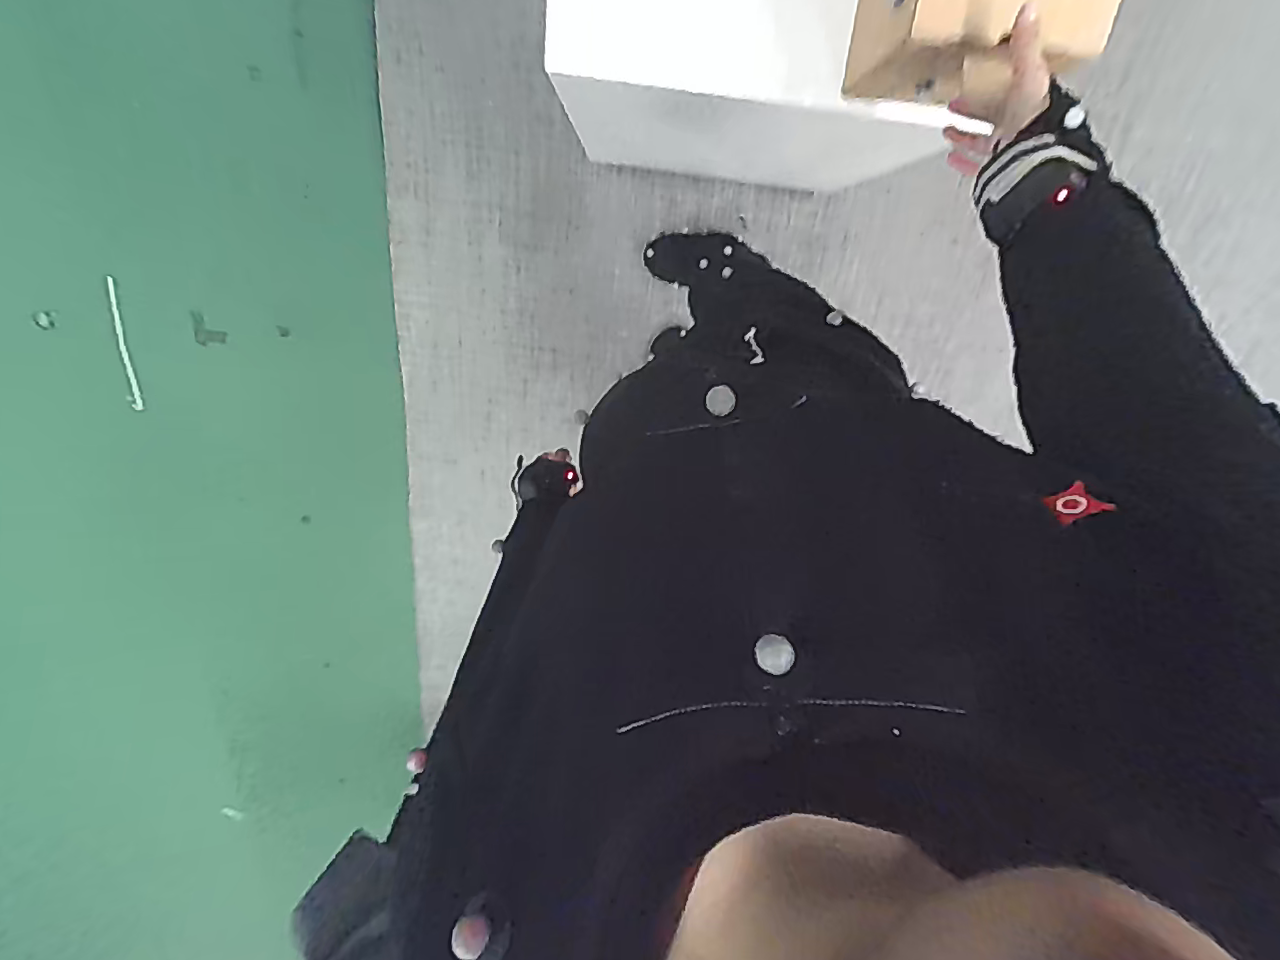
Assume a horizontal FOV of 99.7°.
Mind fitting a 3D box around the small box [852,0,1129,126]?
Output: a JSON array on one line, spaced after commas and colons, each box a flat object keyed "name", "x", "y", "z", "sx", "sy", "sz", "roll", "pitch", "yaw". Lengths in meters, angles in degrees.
[{"name": "small box", "x": 0.316, "y": -0.456, "z": 0.496, "sx": 0.168, "sy": 0.176, "sz": 0.179, "roll": 5, "pitch": 110, "yaw": -1}]
